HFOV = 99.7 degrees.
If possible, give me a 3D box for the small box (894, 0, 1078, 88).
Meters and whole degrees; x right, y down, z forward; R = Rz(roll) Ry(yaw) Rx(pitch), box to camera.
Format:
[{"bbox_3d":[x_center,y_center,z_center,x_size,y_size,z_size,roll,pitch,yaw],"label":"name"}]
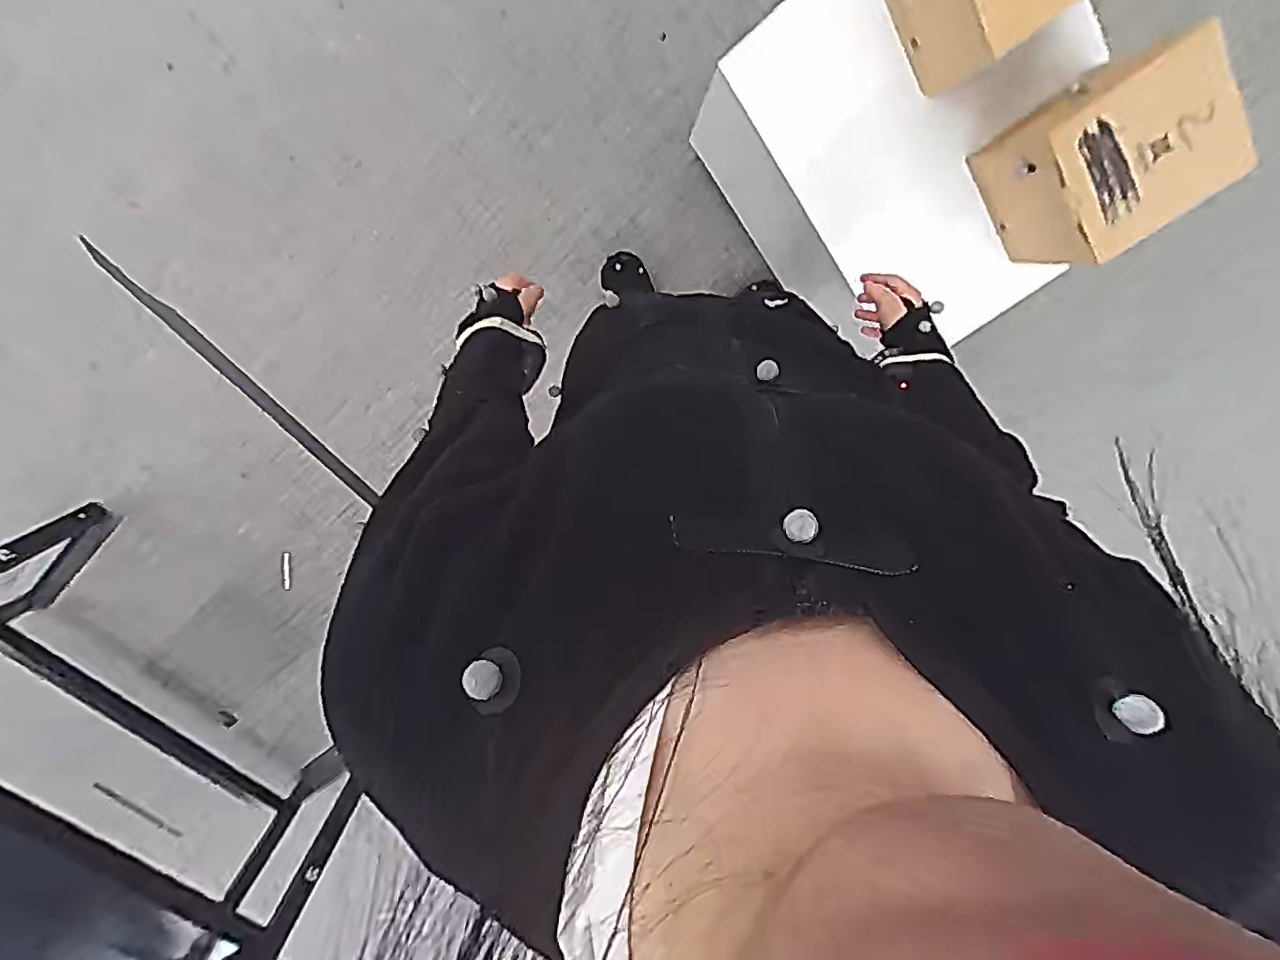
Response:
[{"bbox_3d":[0.393,-0.569,0.579,0.179,0.176,0.168,-32,110,14],"label":"small box"}]
